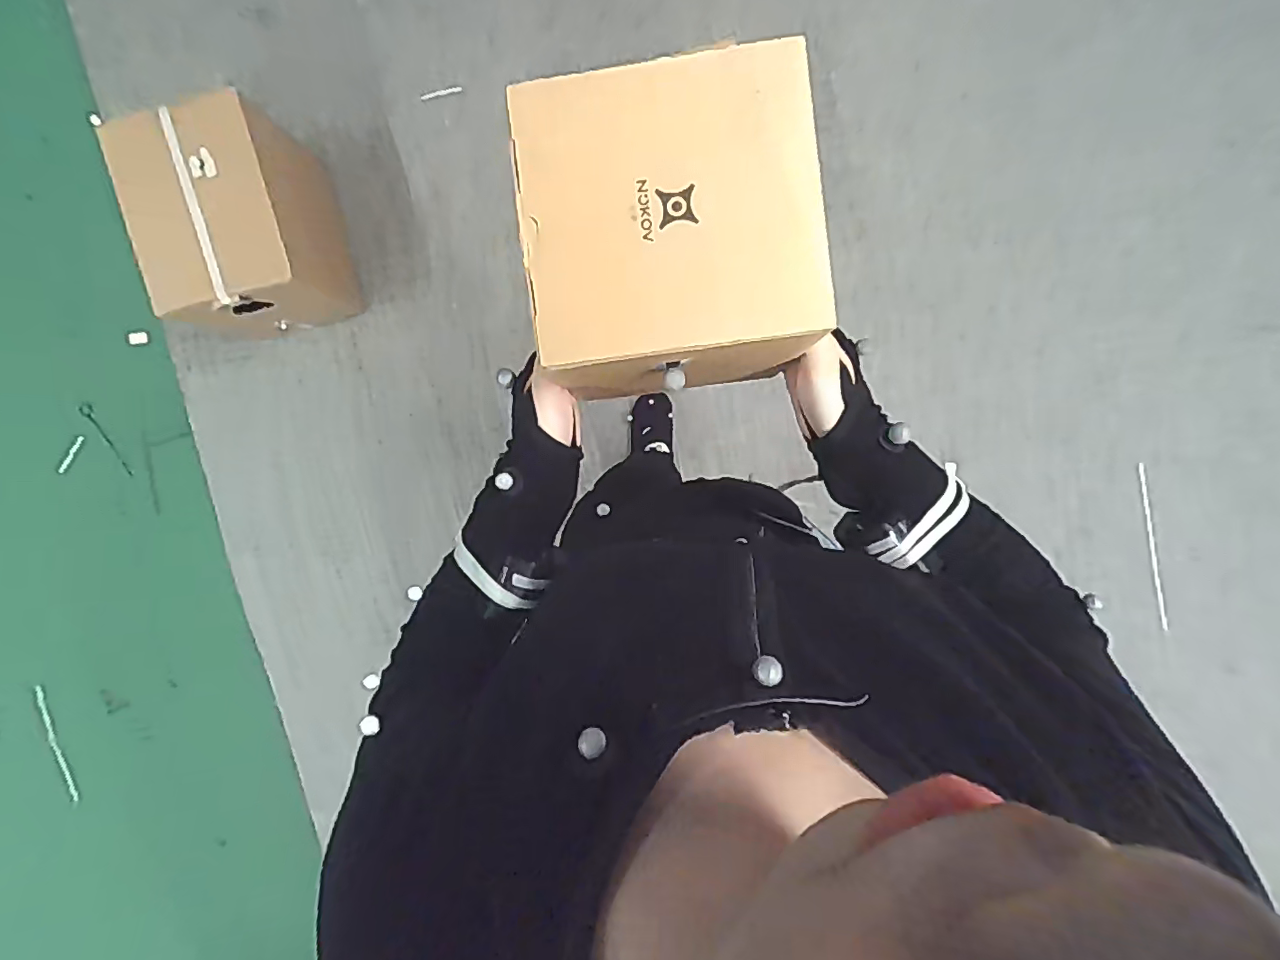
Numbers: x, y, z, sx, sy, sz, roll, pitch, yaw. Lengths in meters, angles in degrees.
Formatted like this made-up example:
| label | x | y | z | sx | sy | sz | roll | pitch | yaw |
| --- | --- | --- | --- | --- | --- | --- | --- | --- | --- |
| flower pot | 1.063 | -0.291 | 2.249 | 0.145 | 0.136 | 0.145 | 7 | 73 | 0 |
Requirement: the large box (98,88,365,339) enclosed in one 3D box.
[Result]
| label | x | y | z | sx | sy | sz | roll | pitch | yaw |
| --- | --- | --- | --- | --- | --- | --- | --- | --- | --- |
| large box | -0.923 | -0.590 | 1.277 | 0.320 | 0.320 | 0.408 | -14 | 95 | 2 |

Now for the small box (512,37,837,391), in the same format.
| label | x | y | z | sx | sy | sz | roll | pitch | yaw |
| --- | --- | --- | --- | --- | --- | --- | --- | --- | --- |
| small box | 0.024 | -0.163 | 0.391 | 0.179 | 0.176 | 0.168 | -7 | 92 | 4 |
